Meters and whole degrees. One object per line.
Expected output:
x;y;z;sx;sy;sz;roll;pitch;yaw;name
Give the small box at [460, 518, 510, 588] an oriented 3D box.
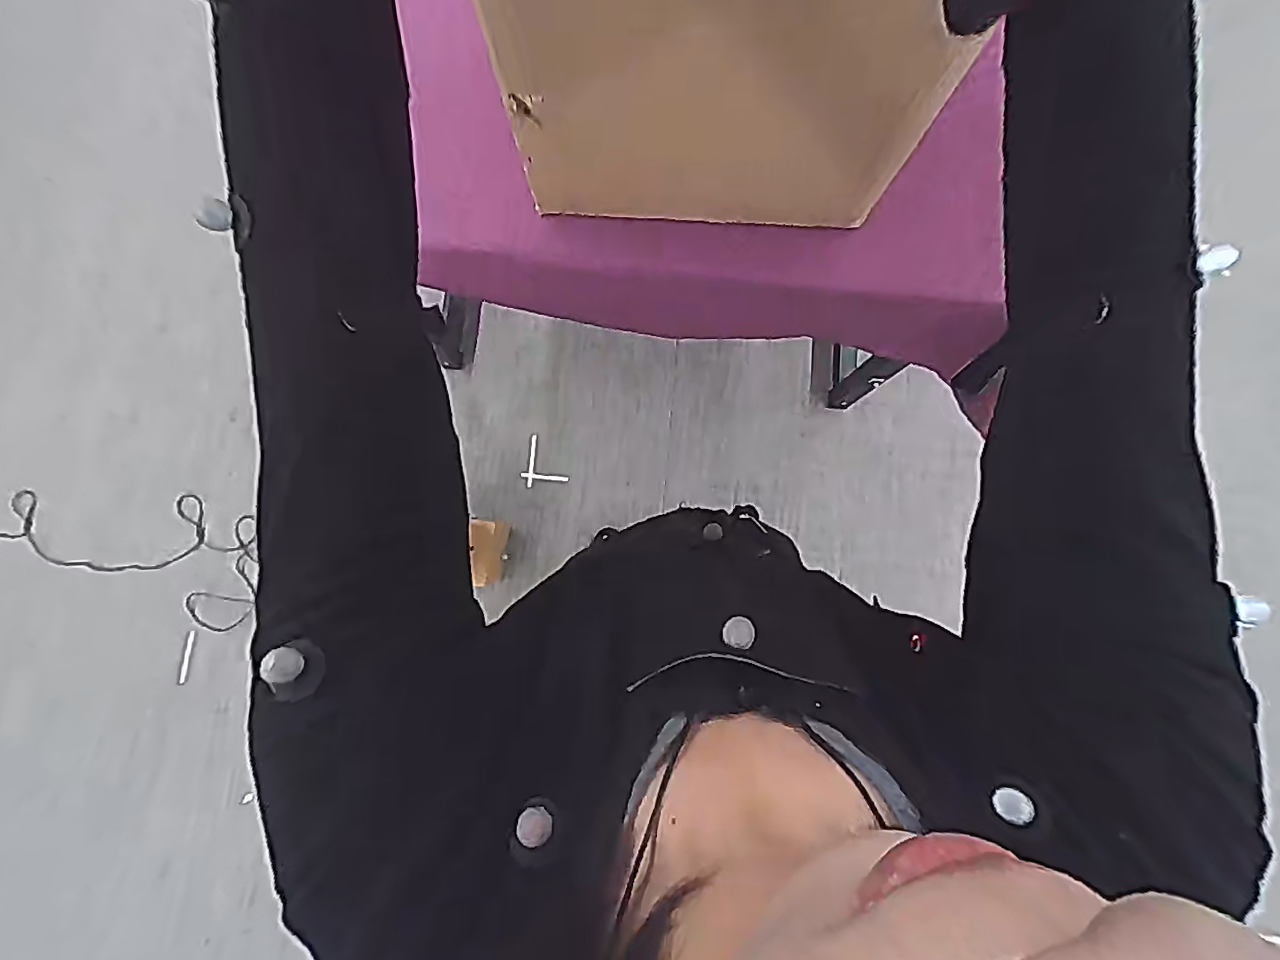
-0.460;0.189;1.433;0.179;0.176;0.168;8;82;0;small box
